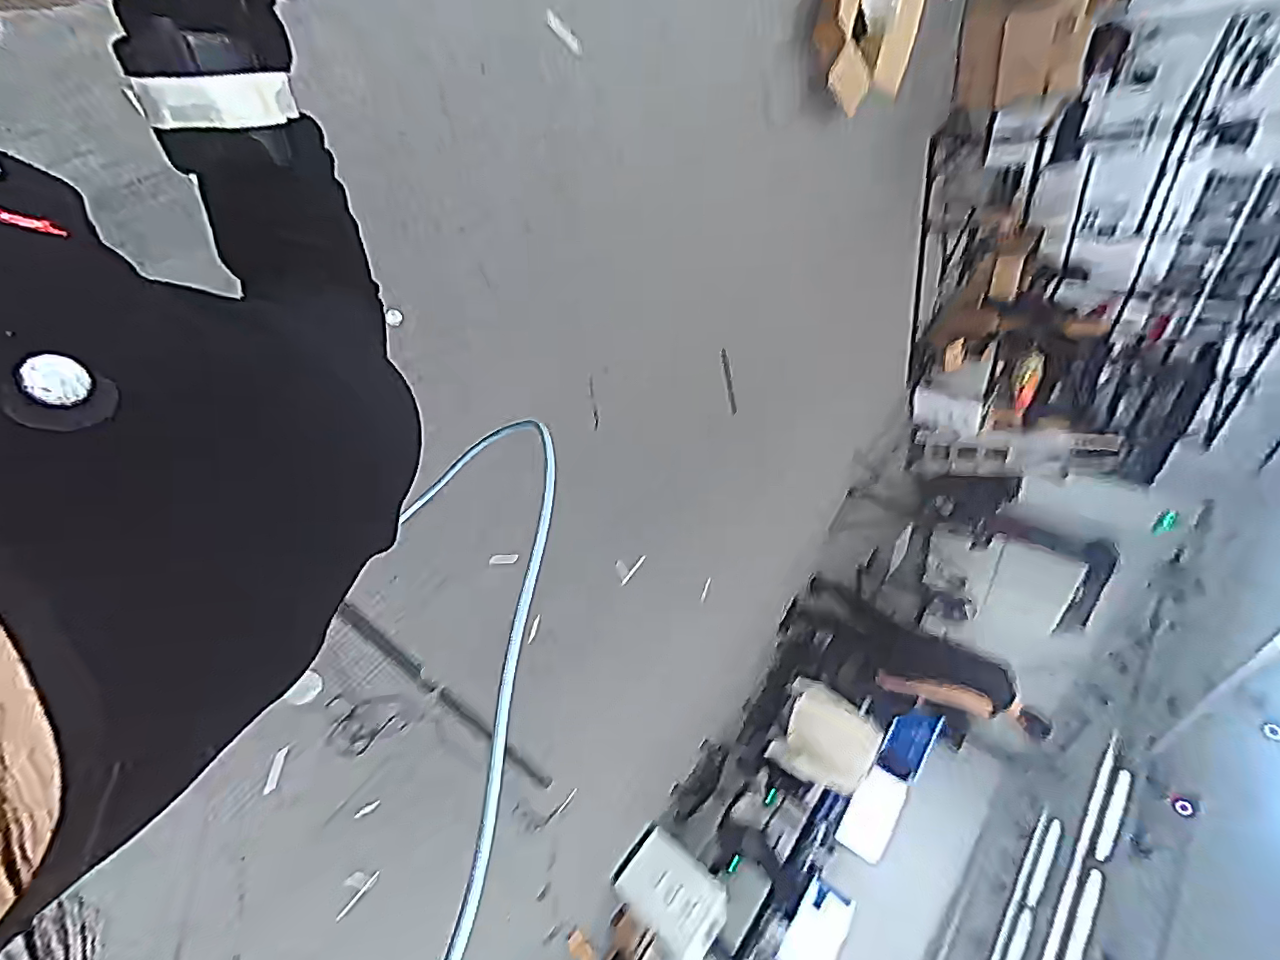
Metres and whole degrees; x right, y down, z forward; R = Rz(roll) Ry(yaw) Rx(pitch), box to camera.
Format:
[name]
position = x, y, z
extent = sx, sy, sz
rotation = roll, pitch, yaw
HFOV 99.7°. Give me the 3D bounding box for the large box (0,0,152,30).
[large box]
position = -0.479, -0.316, 0.145
extent = 0.408, 0.320, 0.320
rotation = -34, 140, -31
